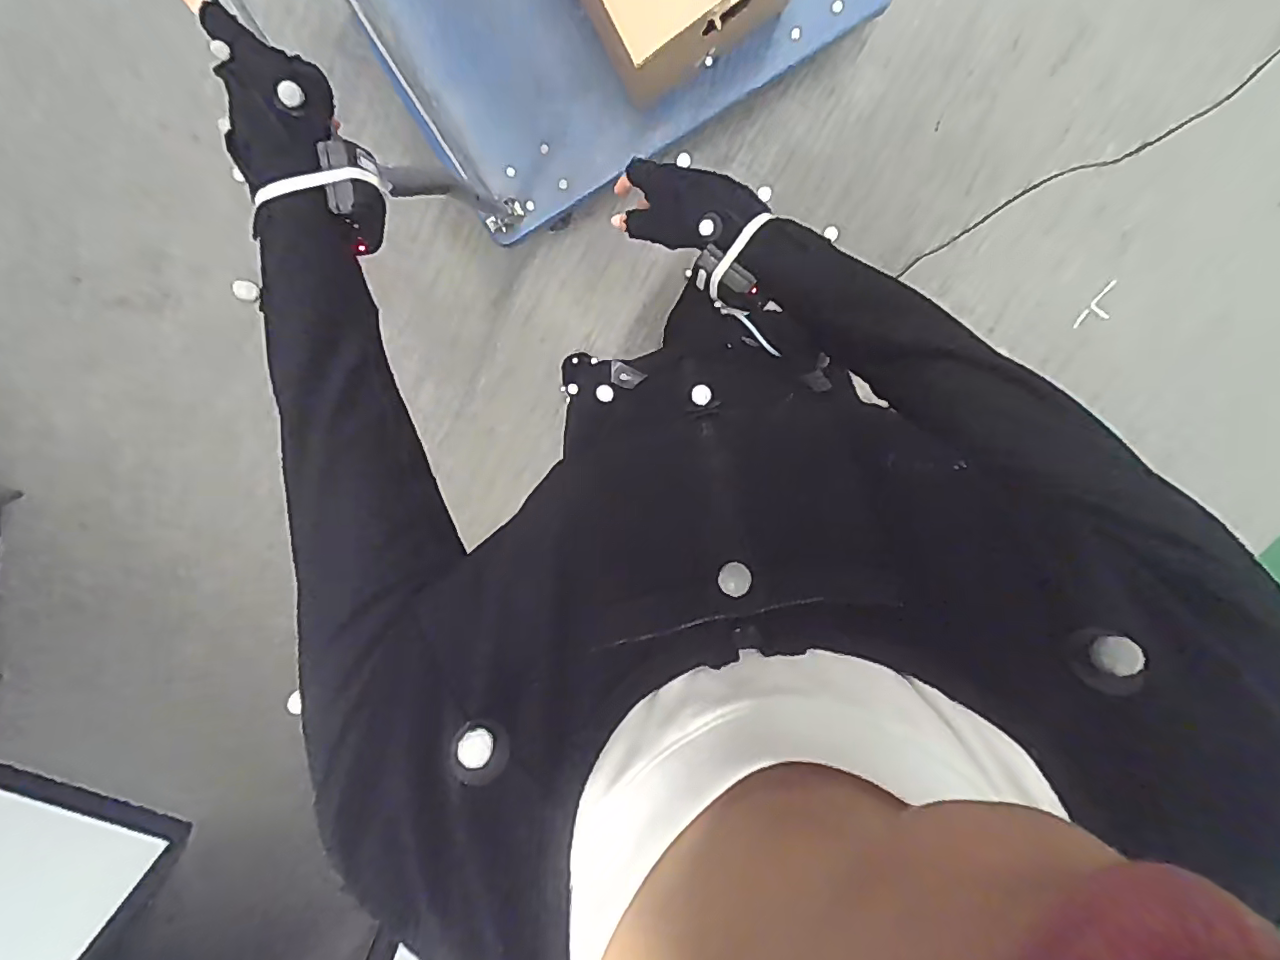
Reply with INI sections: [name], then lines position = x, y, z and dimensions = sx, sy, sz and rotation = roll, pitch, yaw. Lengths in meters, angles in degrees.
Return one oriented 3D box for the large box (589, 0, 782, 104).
[large box]
position = 0.027, -0.880, 0.797
dimensions = 0.320, 0.320, 0.408
rotation = -29, 109, 13
